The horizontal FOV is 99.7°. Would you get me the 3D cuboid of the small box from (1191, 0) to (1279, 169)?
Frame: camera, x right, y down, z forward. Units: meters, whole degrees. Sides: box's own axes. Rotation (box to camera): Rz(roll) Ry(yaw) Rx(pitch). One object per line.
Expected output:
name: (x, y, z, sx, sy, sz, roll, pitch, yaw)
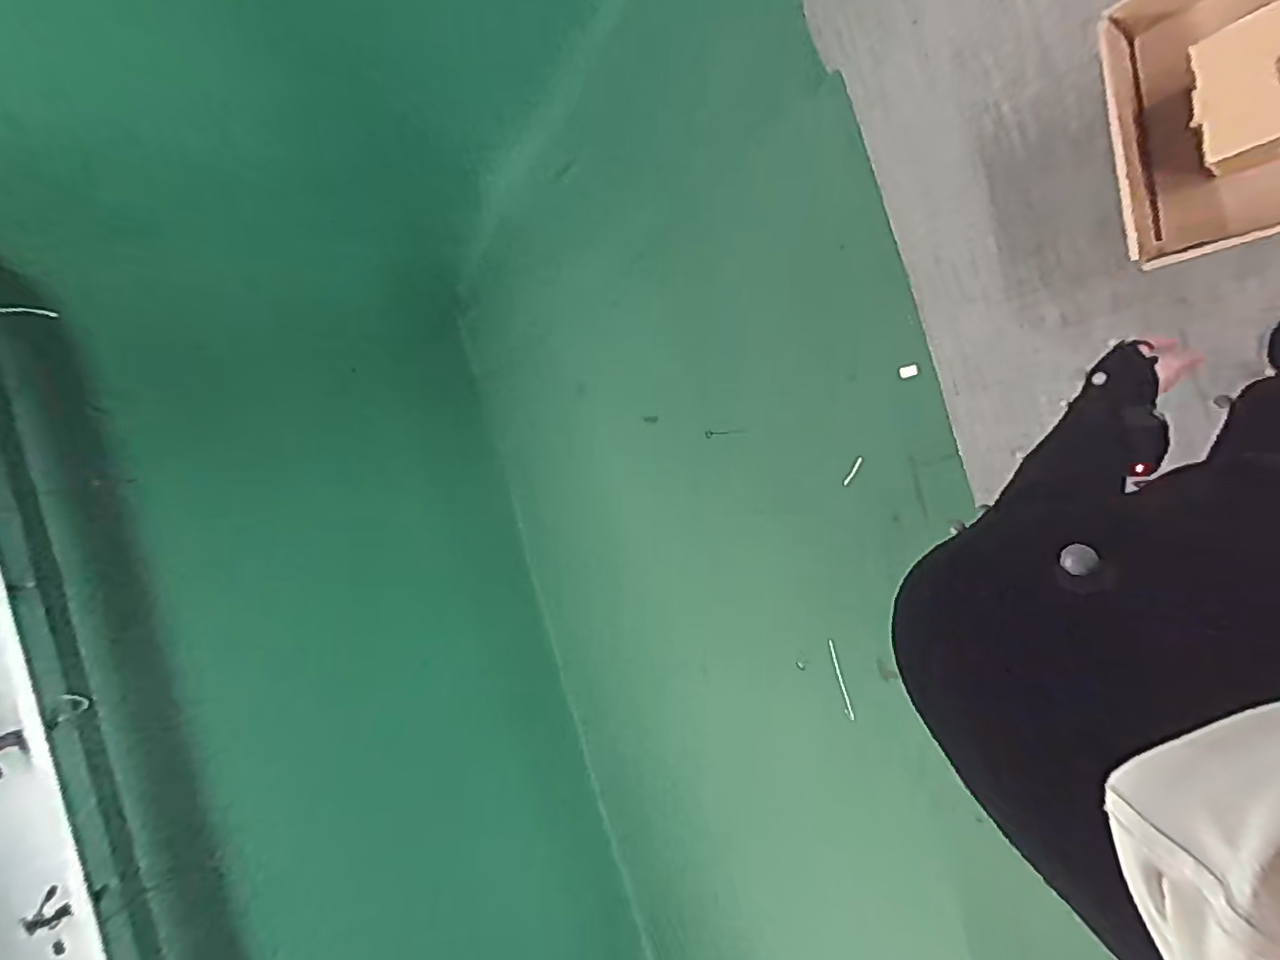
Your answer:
small box: (0.894, -0.551, 0.731, 0.179, 0.176, 0.168, -6, 97, 54)
